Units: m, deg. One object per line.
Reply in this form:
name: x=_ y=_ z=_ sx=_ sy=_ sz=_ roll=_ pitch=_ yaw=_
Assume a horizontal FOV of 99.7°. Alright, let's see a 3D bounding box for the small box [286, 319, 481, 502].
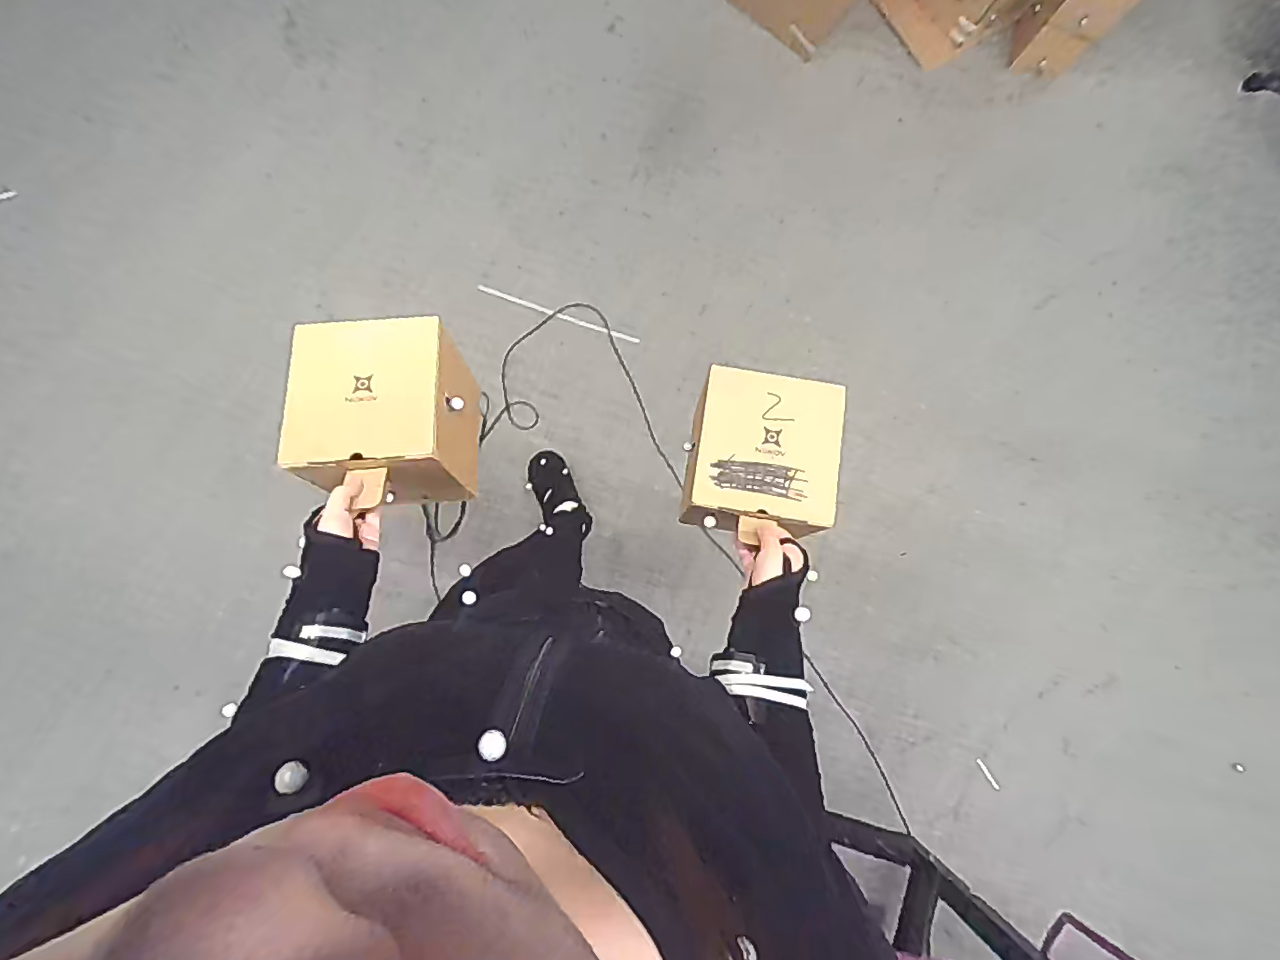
small box: x=-0.306 y=-0.081 z=0.685 sx=0.168 sy=0.176 sz=0.179 roll=-4 pitch=73 yaw=-2
